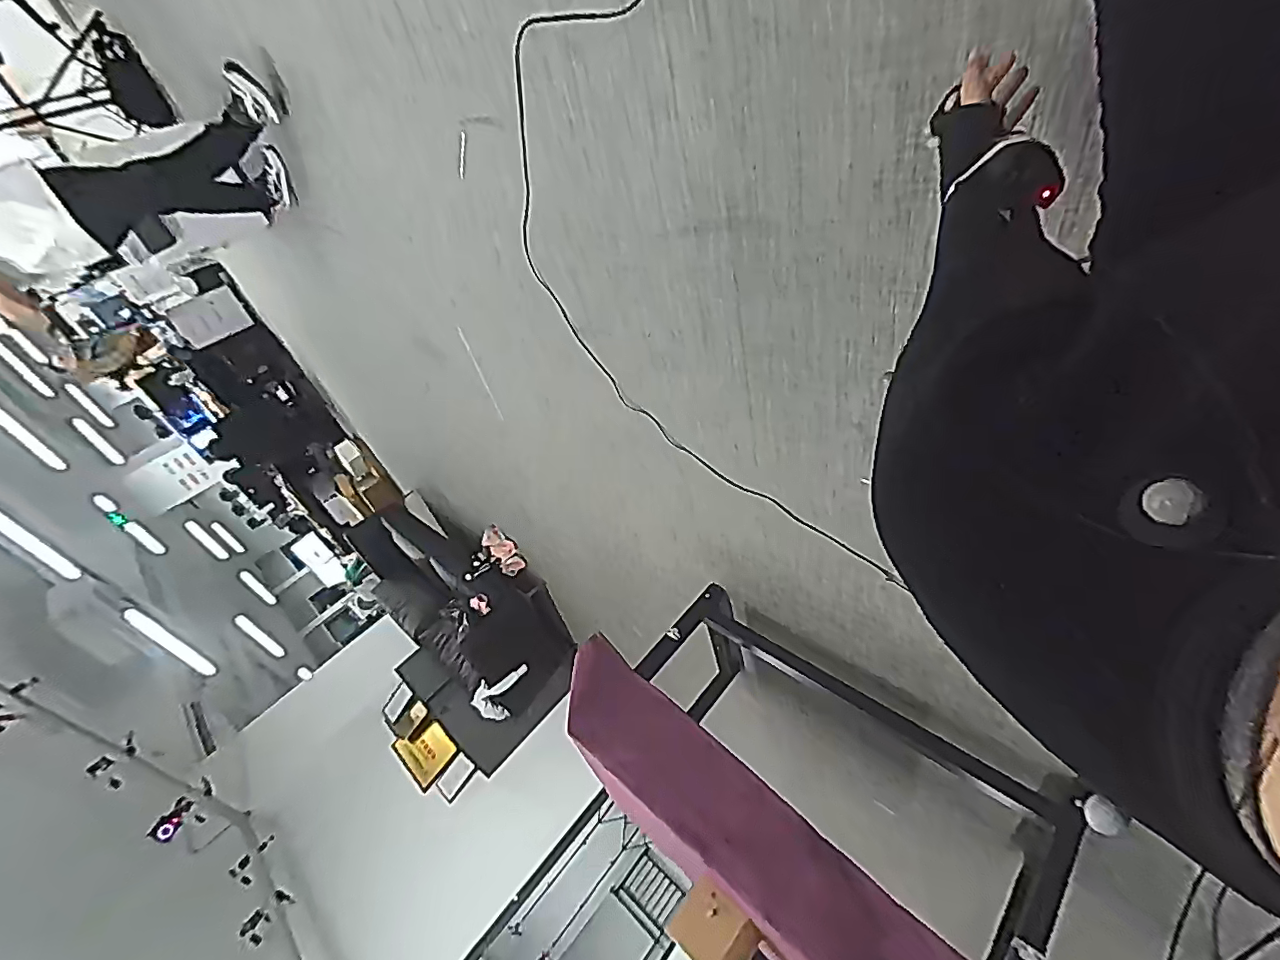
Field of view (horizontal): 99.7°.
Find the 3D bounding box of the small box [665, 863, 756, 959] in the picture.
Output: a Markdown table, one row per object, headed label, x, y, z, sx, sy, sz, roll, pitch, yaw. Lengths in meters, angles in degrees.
| label | x | y | z | sx | sy | sz | roll | pitch | yaw |
| --- | --- | --- | --- | --- | --- | --- | --- | --- | --- |
| small box | 0.203 | 1.223 | 1.502 | 0.168 | 0.176 | 0.179 | 17 | 139 | 45 |
